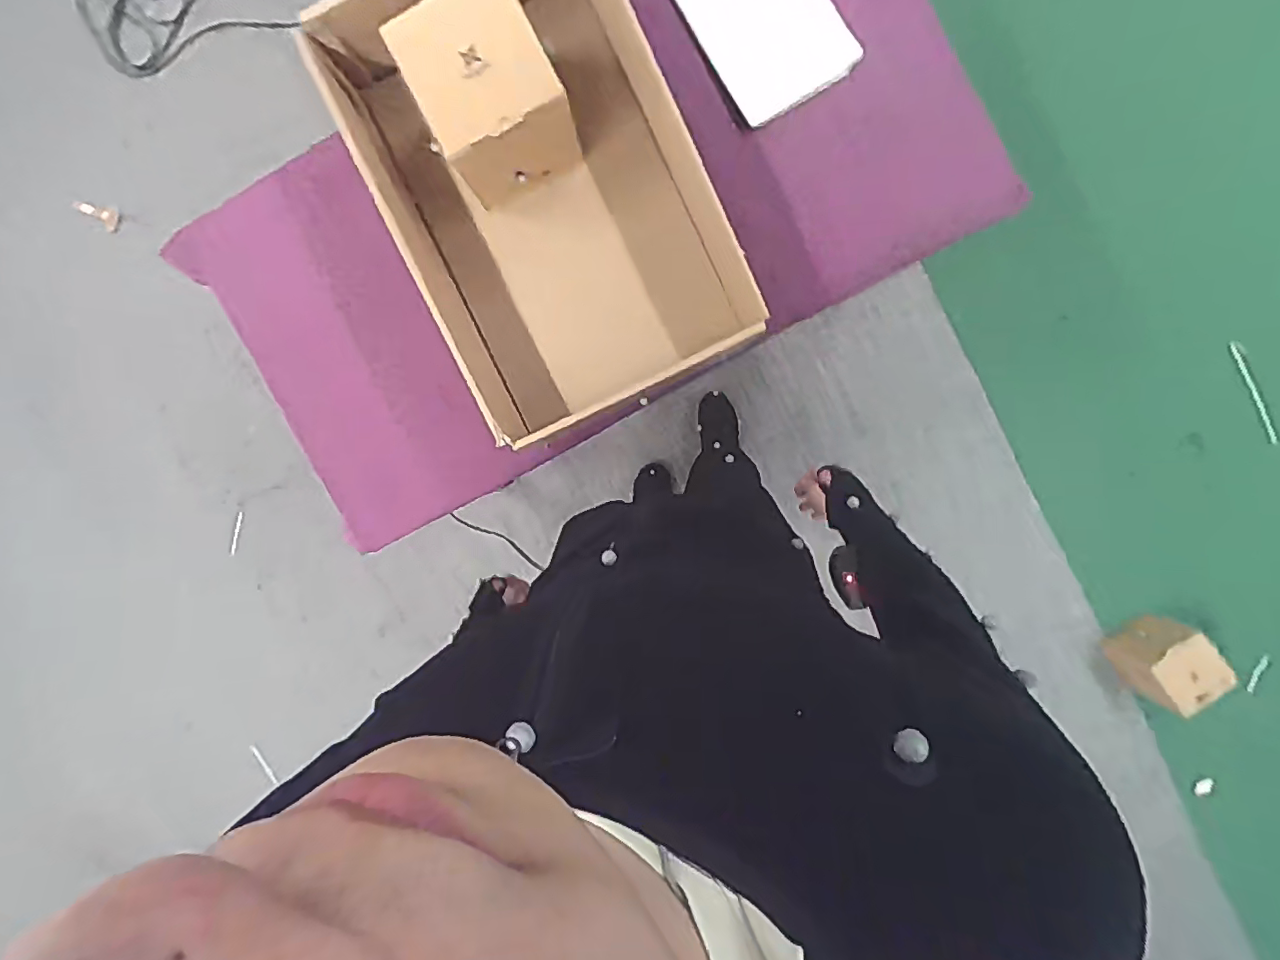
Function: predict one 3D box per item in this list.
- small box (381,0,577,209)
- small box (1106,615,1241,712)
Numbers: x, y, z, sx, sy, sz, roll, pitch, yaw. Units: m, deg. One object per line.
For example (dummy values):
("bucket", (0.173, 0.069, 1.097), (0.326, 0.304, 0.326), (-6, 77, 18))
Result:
("small box", (-0.203, -0.513, 0.734), (0.168, 0.176, 0.179), (-29, 94, 4))
("small box", (1.470, 0.497, 1.505), (0.168, 0.176, 0.179), (-39, 91, 5))
